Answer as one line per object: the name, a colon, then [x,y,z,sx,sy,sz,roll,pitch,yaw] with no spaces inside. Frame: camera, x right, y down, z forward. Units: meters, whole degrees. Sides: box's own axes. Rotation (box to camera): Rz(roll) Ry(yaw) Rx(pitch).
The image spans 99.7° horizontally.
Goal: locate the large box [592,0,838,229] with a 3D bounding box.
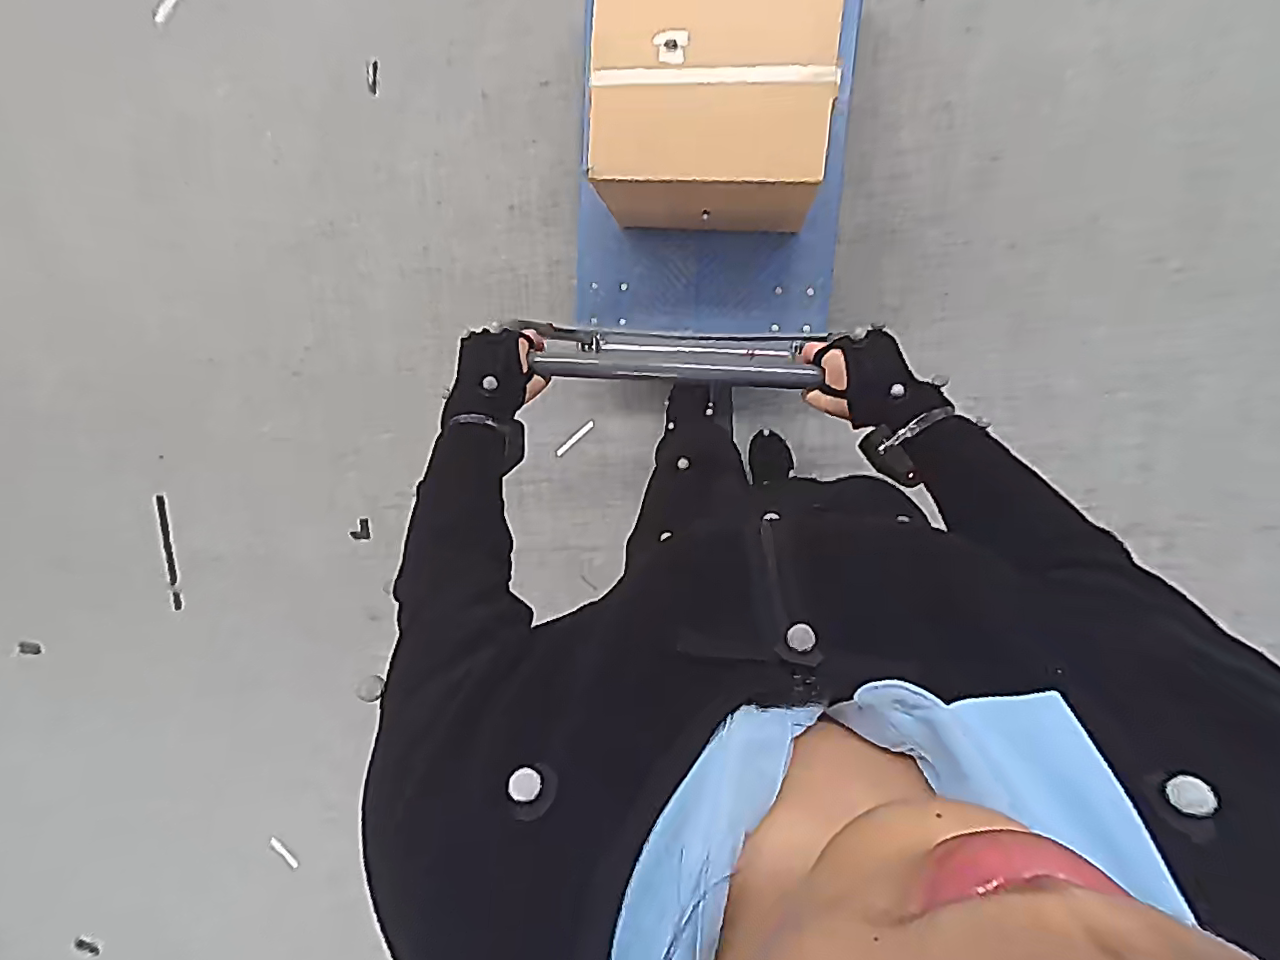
large box: [0.143,-0.690,1.053,0.408,0.320,0.320,5,100,9]
